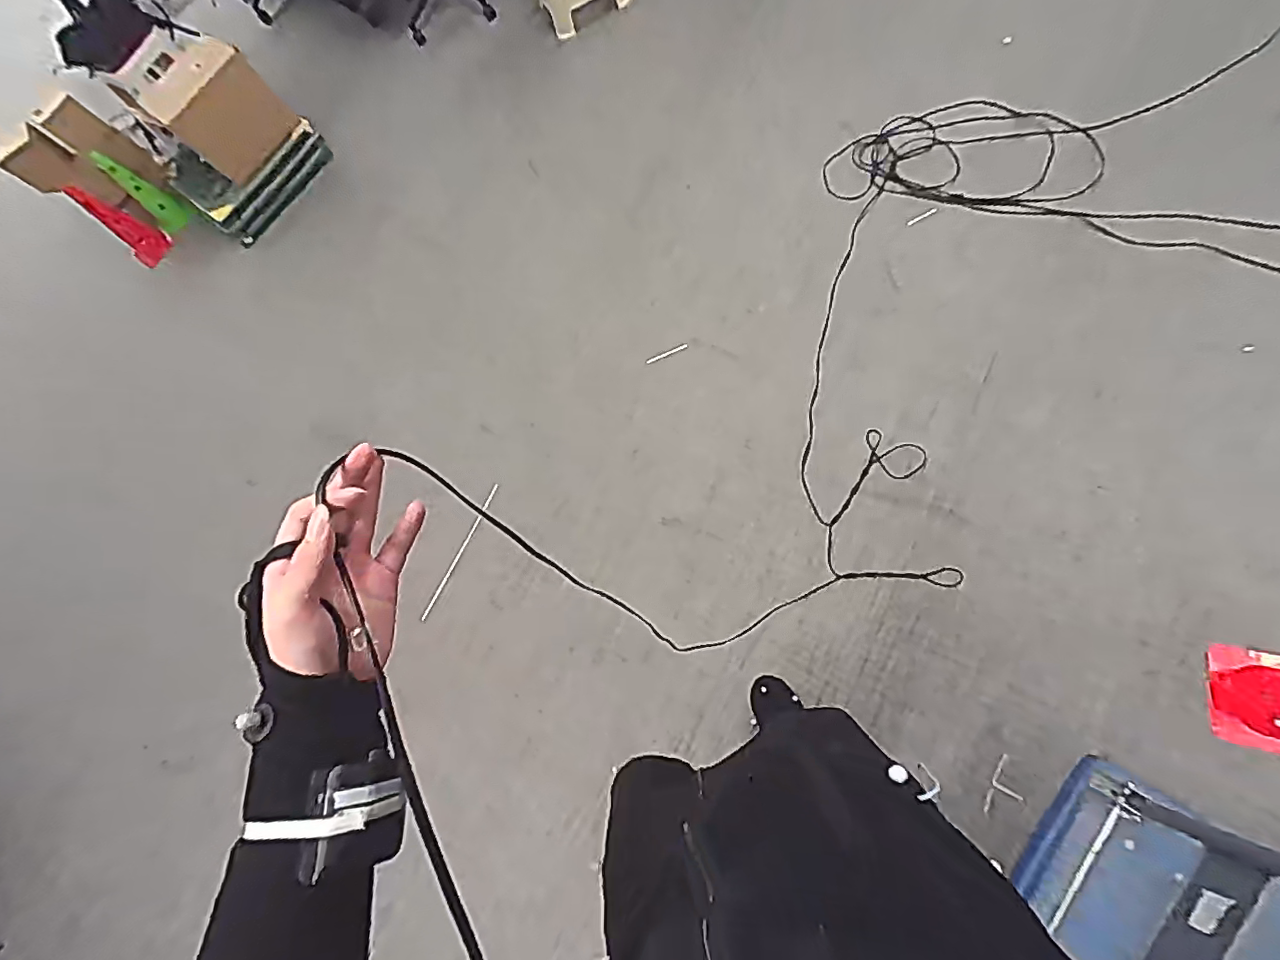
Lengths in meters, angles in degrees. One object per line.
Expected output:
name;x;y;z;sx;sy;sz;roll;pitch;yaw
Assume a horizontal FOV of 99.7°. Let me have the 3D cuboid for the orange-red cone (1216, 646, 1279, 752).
orange-red cone;1.278;0.408;0.962;0.198;0.360;0.199;9;74;17
